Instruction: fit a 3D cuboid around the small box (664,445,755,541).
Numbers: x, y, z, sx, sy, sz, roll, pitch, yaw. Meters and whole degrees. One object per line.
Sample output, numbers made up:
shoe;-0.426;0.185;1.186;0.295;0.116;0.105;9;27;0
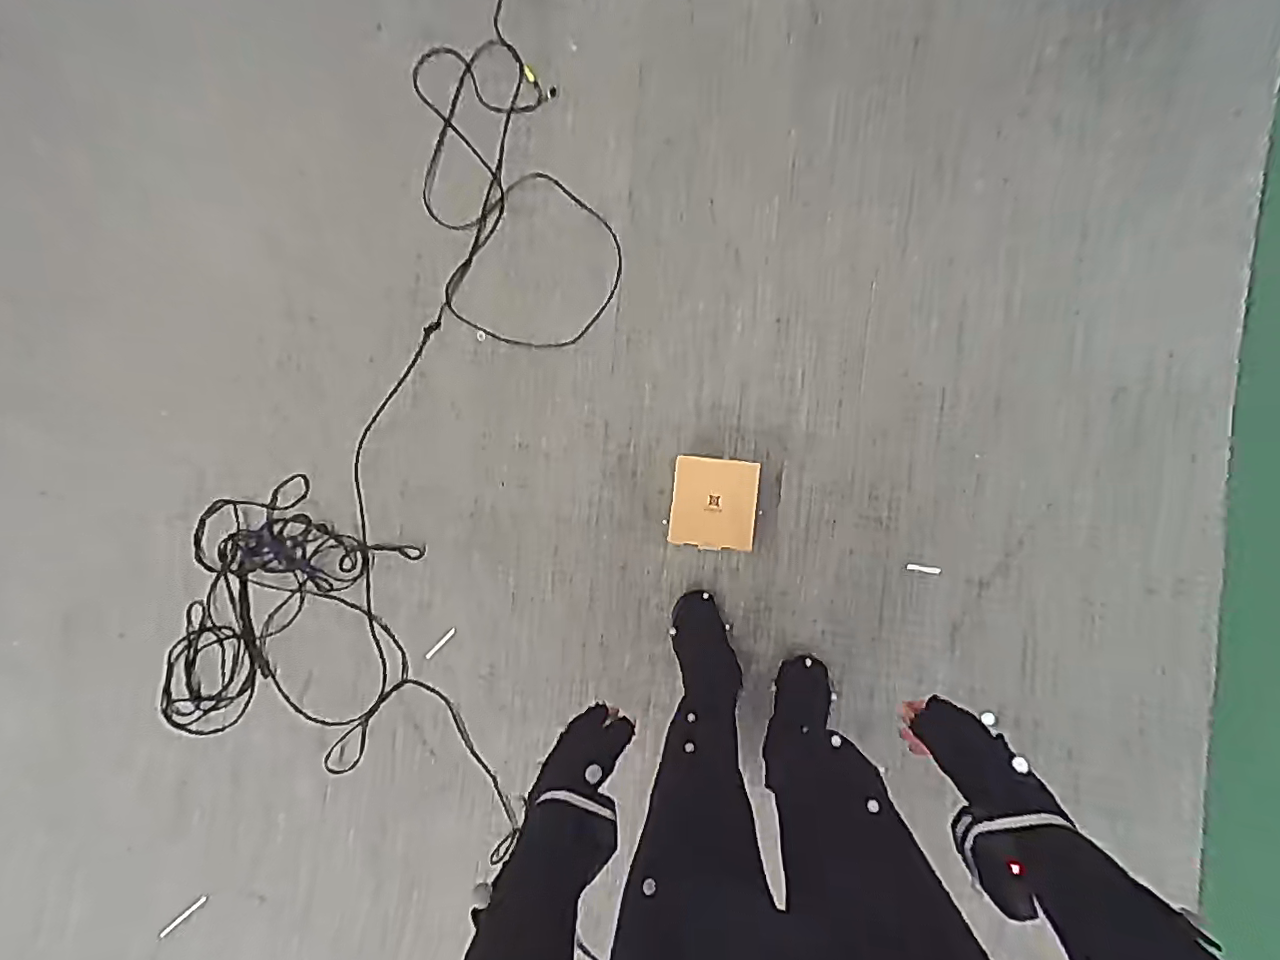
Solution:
small box;0.141;0.028;1.140;0.168;0.176;0.179;6;90;4
